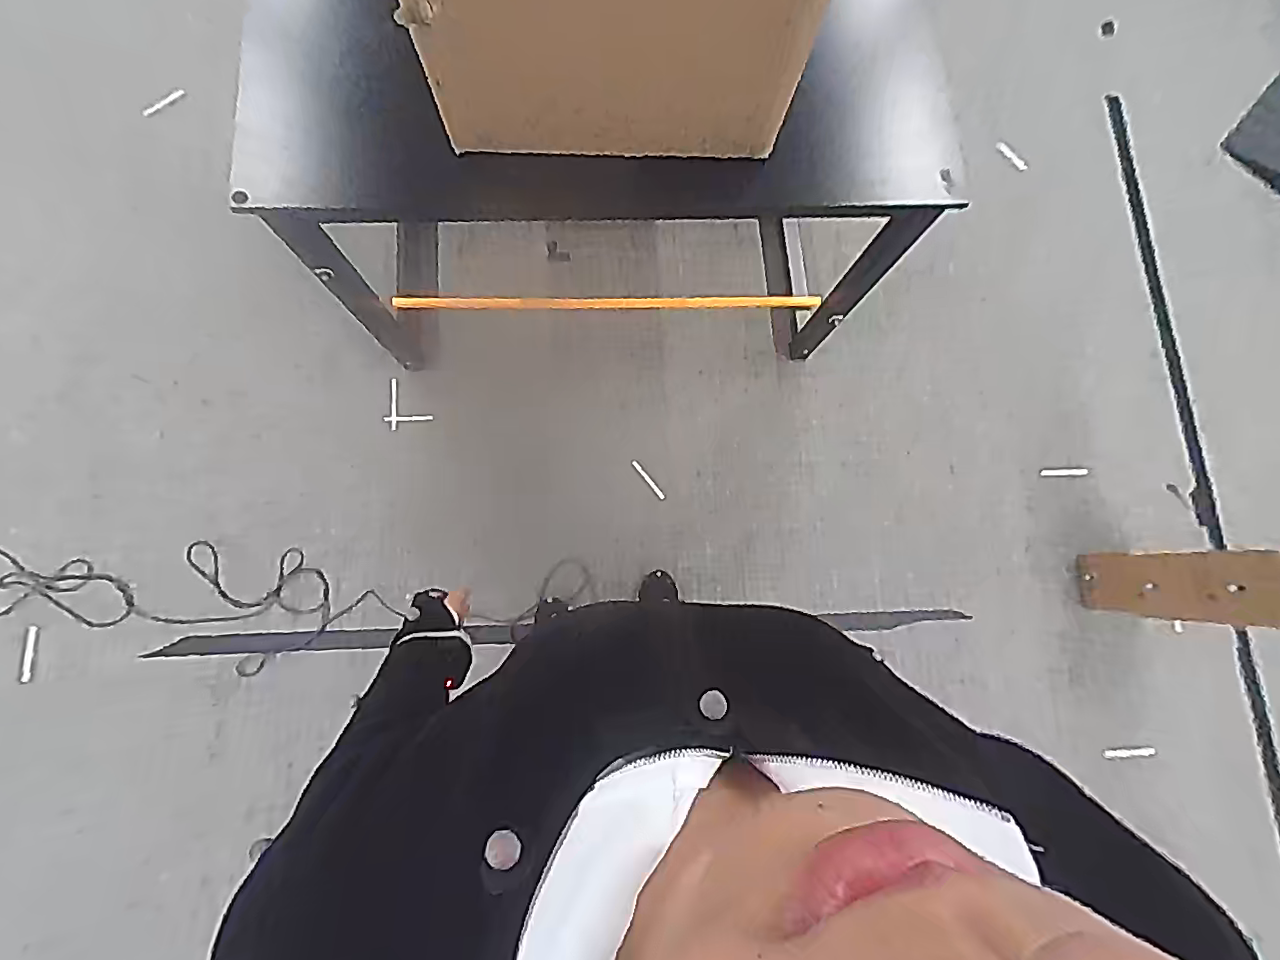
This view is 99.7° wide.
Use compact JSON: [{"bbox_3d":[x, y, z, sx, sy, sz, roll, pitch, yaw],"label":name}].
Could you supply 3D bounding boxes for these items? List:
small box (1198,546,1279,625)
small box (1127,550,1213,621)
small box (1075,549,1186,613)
[{"bbox_3d":[1.395,0.232,1.191,0.179,0.176,0.168,-1,80,-4],"label":"small box"},{"bbox_3d":[1.386,0.260,1.352,0.179,0.176,0.168,-1,79,-4],"label":"small box"},{"bbox_3d":[1.382,0.280,1.516,0.179,0.176,0.168,-2,80,-3],"label":"small box"}]
